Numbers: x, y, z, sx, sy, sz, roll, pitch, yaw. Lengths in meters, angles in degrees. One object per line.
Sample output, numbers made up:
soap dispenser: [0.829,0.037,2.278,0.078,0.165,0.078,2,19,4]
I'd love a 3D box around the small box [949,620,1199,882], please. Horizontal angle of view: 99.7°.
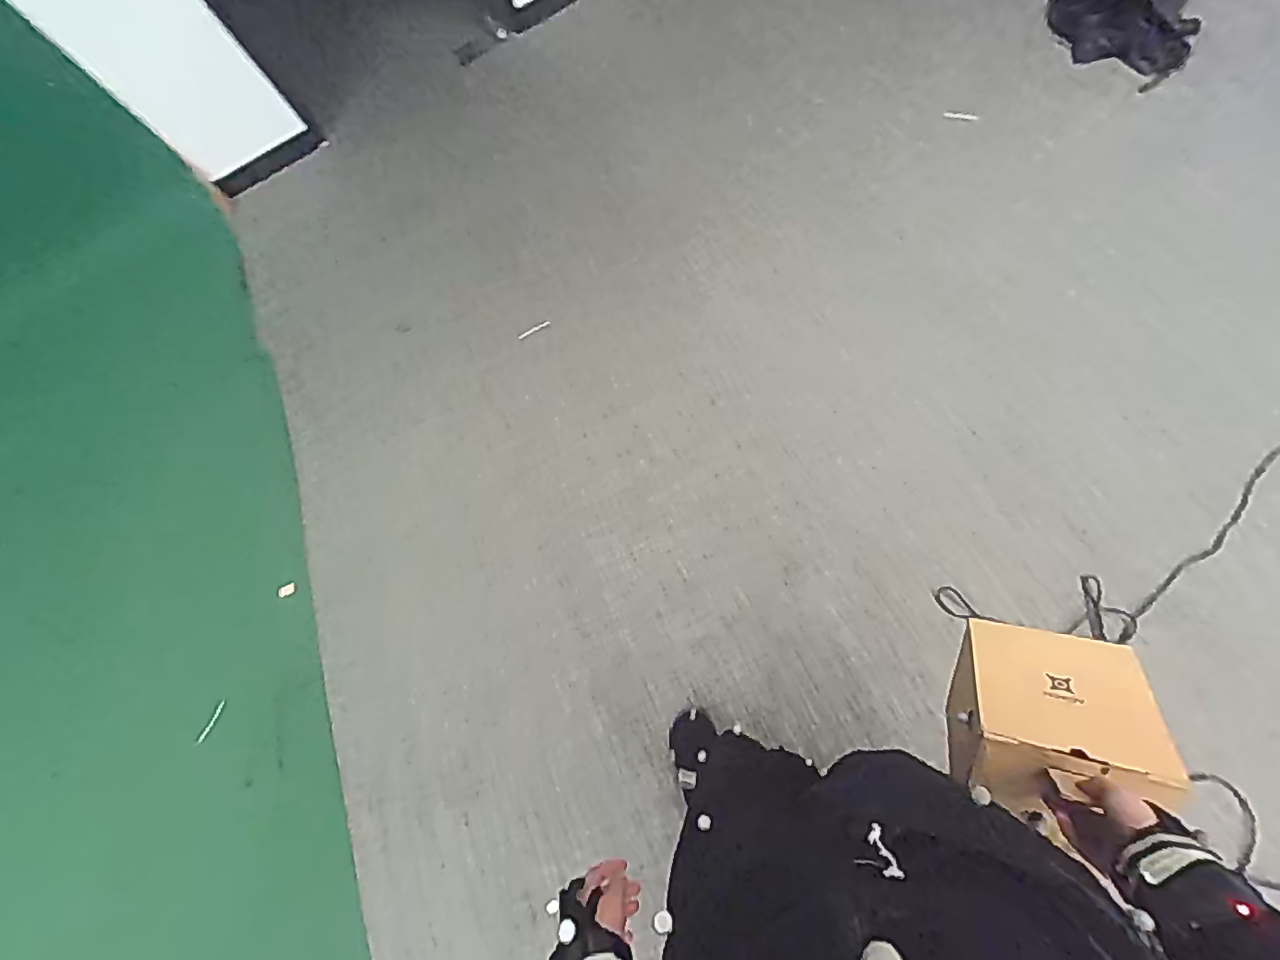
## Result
small box: [0.460,0.295,0.612,0.168,0.176,0.179,8,32,23]
